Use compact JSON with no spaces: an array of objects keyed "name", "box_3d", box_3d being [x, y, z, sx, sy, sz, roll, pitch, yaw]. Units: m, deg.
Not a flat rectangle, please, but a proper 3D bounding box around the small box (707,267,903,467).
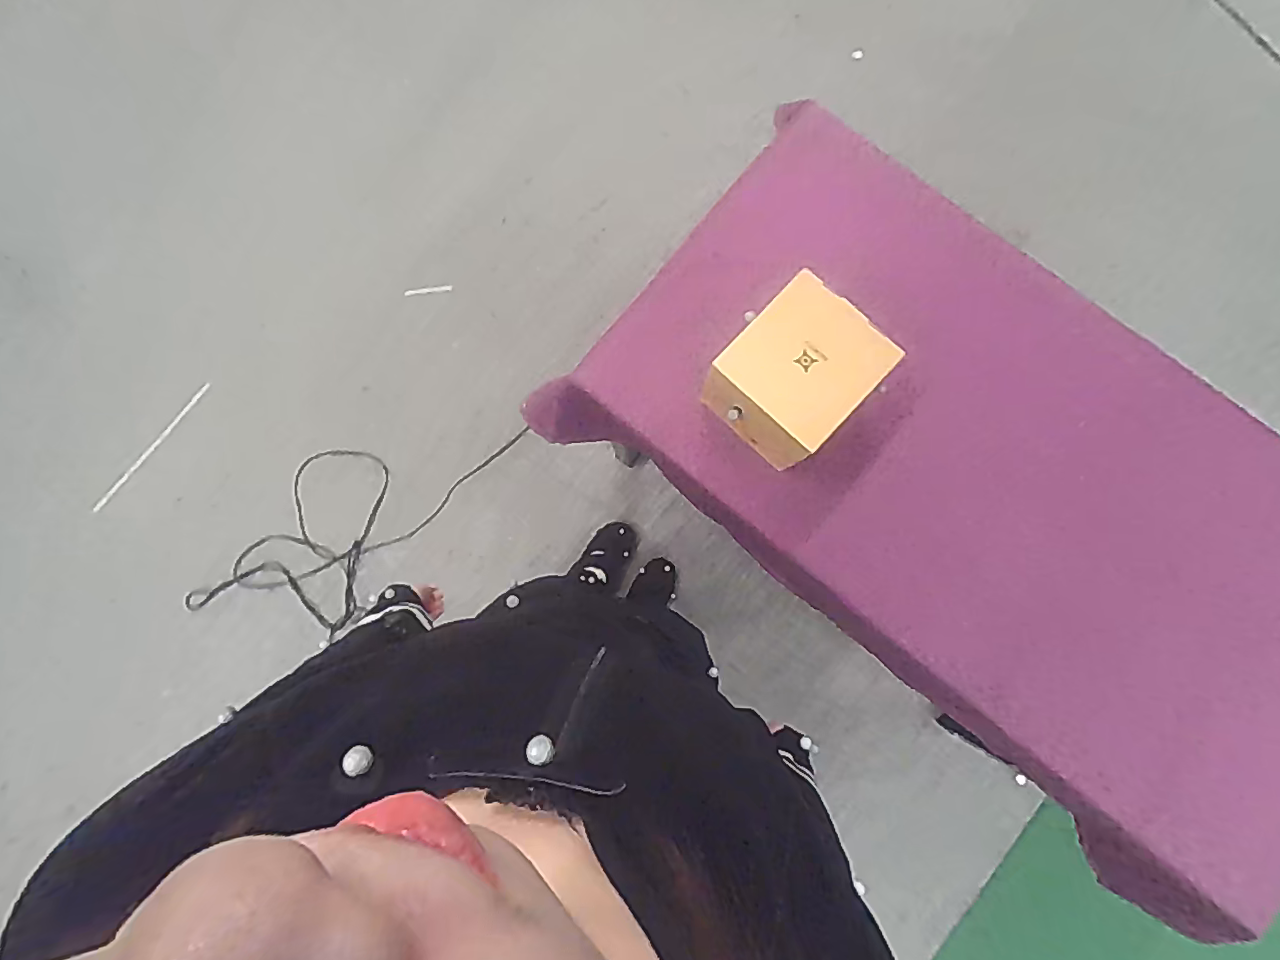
[{"name":"small box","box_3d":[0.205,-0.138,0.735,0.168,0.176,0.179,44,85,6]}]
